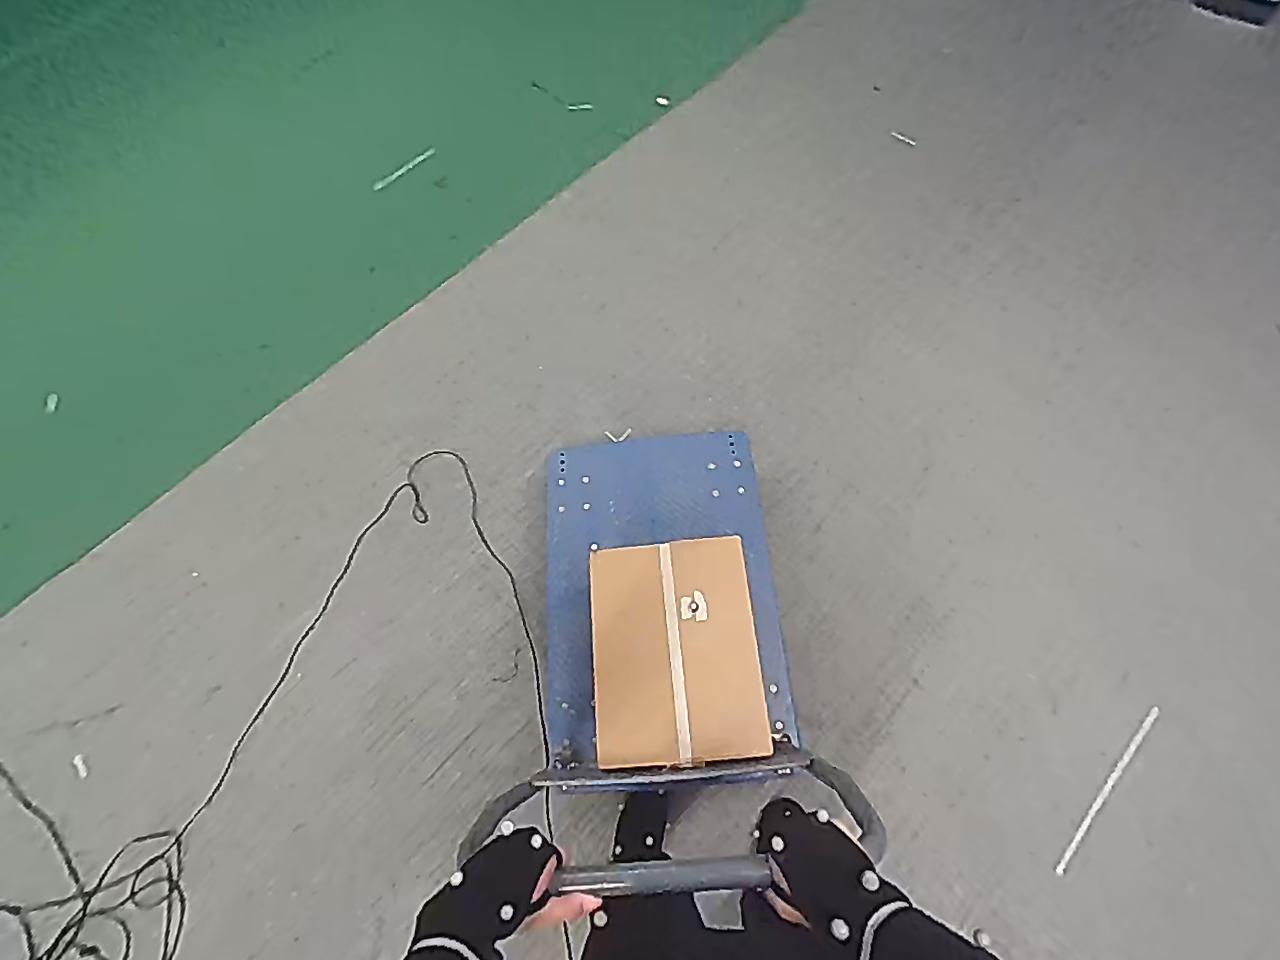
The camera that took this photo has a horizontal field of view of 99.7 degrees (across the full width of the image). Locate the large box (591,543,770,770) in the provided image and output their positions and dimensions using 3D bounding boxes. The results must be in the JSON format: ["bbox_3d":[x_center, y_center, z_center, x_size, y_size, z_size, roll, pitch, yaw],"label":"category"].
[{"bbox_3d":[0.081,0.389,1.183,0.320,0.320,0.408,-6,65,3],"label":"large box"}]
